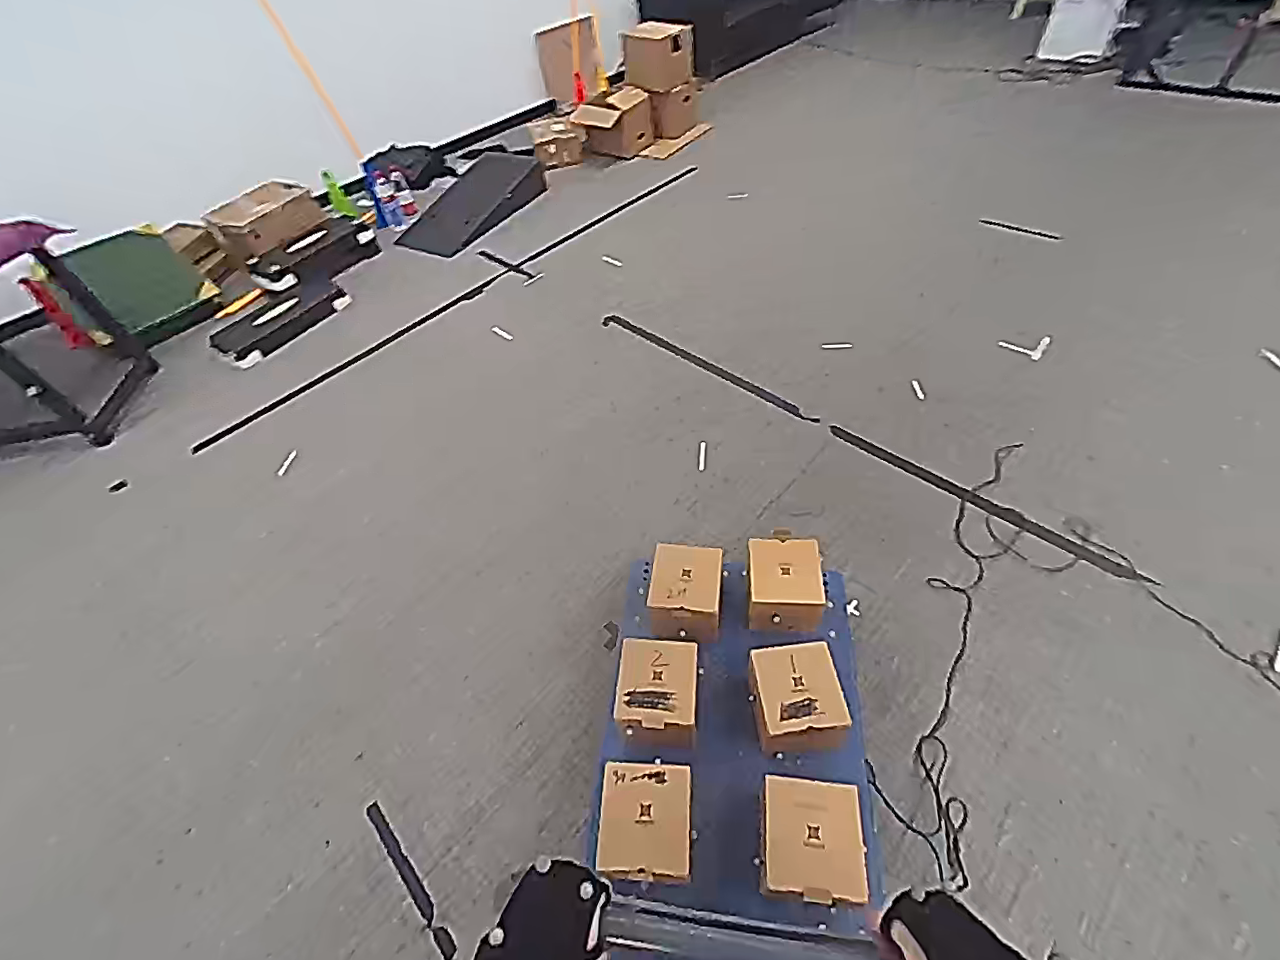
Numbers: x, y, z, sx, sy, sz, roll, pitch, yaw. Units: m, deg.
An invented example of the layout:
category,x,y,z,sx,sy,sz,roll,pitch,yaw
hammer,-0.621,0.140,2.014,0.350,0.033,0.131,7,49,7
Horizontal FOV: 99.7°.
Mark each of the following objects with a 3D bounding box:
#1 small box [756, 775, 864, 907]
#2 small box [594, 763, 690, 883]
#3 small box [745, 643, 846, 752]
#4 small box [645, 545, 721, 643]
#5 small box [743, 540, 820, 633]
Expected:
category,x,y,z,sx,sy,sz,roll,pitch,yaw
small box,0.308,0.675,1.009,0.168,0.176,0.179,3,50,9
small box,0.013,0.668,1.050,0.168,0.176,0.179,0,51,6
small box,0.327,0.477,1.173,0.168,0.176,0.179,-7,49,1
small box,0.111,0.287,1.357,0.168,0.176,0.179,4,52,10
small box,0.346,0.269,1.347,0.168,0.176,0.179,0,50,7
